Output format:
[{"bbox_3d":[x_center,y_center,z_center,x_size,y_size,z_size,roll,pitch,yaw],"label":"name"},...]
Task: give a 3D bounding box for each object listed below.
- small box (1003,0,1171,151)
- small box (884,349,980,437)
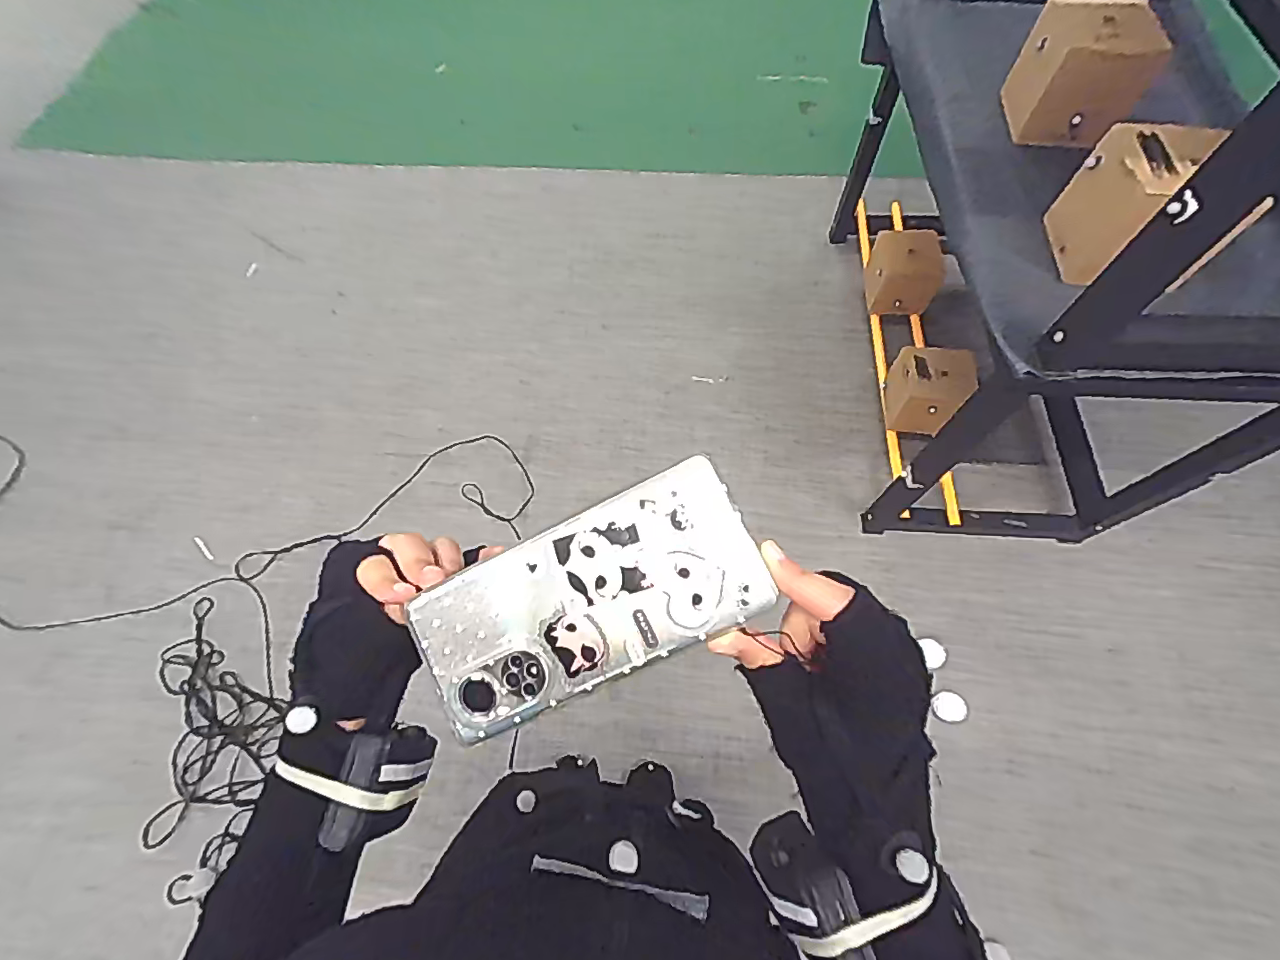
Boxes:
[{"bbox_3d":[0.821,-0.758,1.020,0.168,0.176,0.179,6,64,5],"label":"small box"},{"bbox_3d":[0.773,-0.230,1.456,0.179,0.176,0.168,6,64,5],"label":"small box"}]
